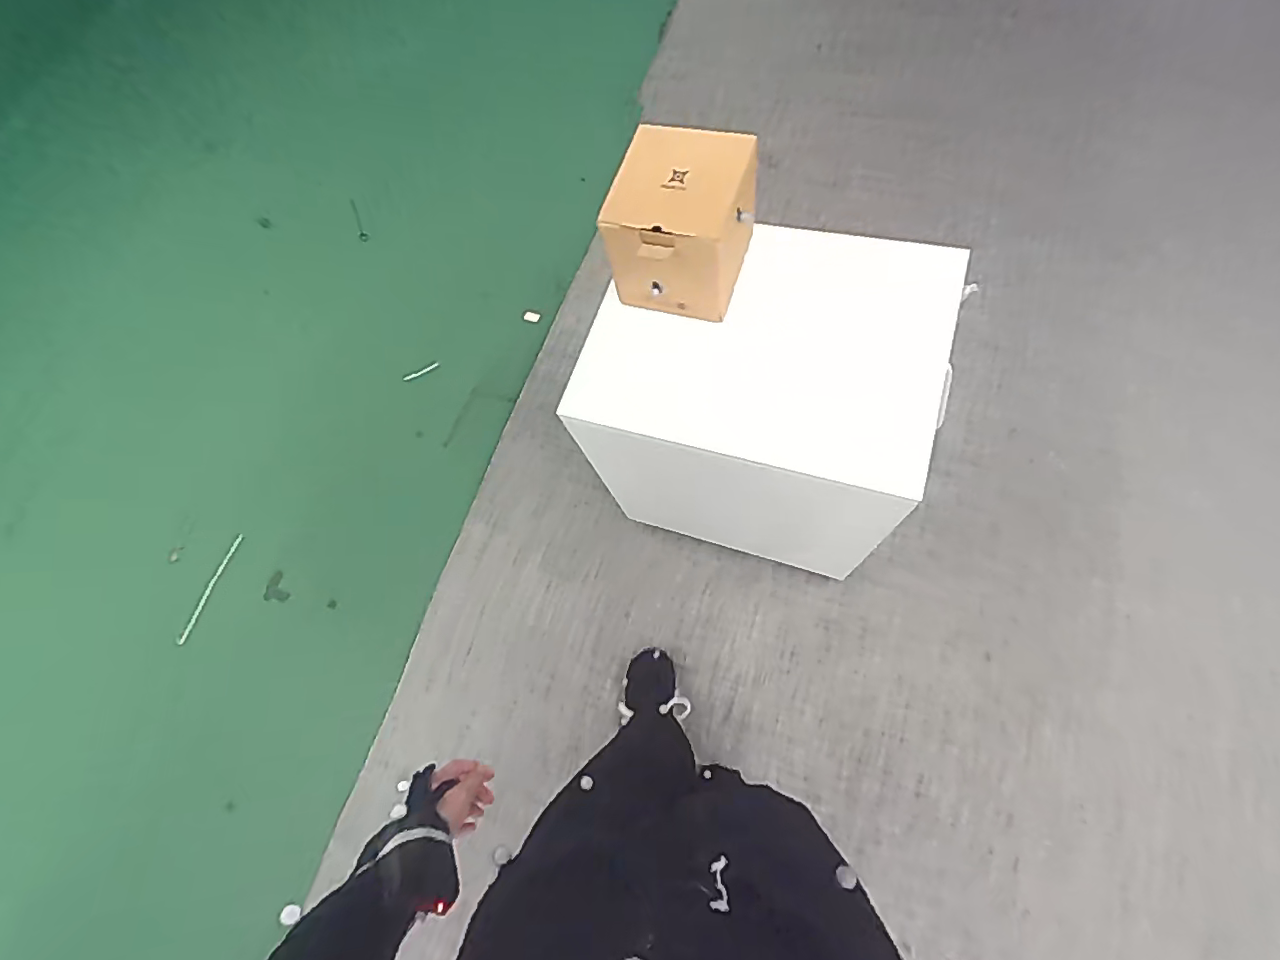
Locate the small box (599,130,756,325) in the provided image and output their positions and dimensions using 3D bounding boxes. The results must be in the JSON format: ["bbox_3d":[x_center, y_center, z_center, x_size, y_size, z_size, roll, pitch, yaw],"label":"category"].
[{"bbox_3d":[0.060,-0.355,0.776,0.168,0.176,0.179,15,74,14],"label":"small box"}]
